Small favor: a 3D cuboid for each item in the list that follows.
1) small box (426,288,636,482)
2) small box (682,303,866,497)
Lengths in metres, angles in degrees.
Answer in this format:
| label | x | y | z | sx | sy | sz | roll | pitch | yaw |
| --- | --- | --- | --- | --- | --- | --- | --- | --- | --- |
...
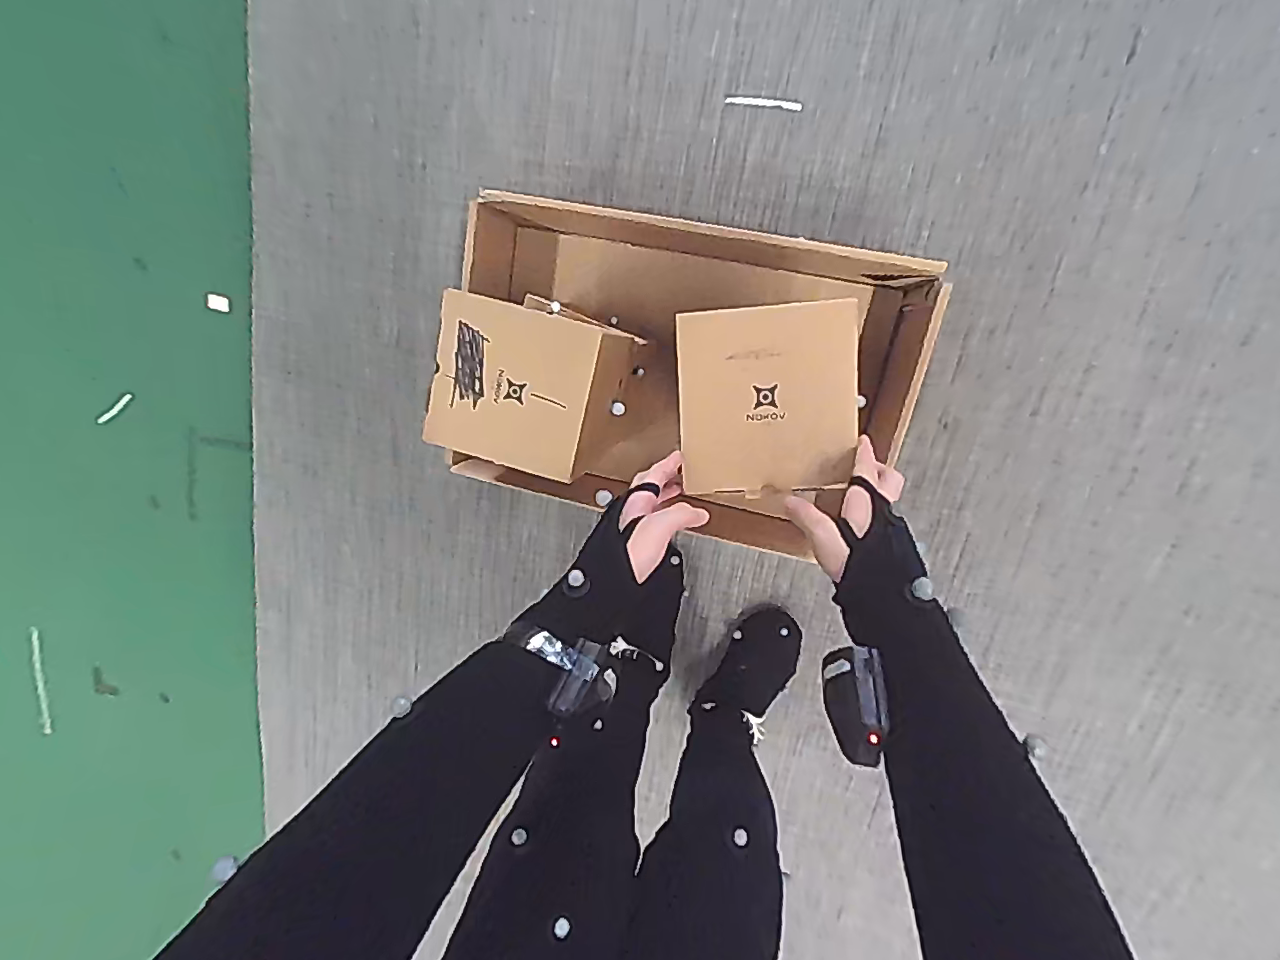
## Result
| label | x | y | z | sx | sy | sz | roll | pitch | yaw |
| --- | --- | --- | --- | --- | --- | --- | --- | --- | --- |
| small box | -0.119 | -0.113 | 0.638 | 0.179 | 0.176 | 0.168 | 17 | 105 | 6 |
| small box | 0.136 | -0.081 | 0.580 | 0.168 | 0.176 | 0.179 | -1 | 96 | 10 |
